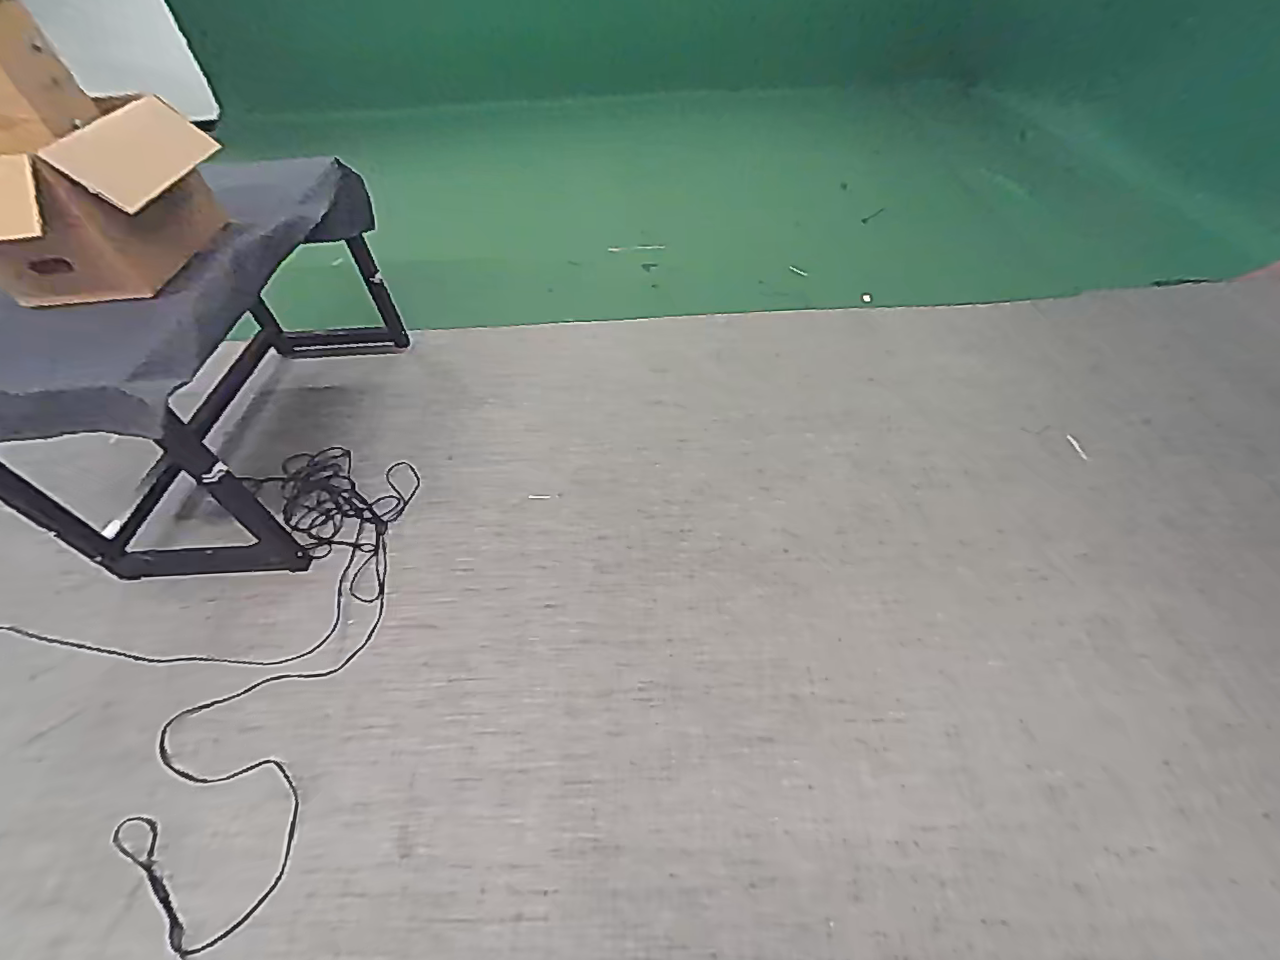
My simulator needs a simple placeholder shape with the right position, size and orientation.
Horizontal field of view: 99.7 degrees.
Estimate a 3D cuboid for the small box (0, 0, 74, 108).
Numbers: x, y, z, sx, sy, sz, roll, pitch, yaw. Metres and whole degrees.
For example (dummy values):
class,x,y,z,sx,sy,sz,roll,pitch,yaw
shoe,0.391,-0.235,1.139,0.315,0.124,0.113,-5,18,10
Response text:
class,x,y,z,sx,sy,sz,roll,pitch,yaw
small box,-1.307,-0.850,1.067,0.179,0.176,0.168,-7,49,-1
